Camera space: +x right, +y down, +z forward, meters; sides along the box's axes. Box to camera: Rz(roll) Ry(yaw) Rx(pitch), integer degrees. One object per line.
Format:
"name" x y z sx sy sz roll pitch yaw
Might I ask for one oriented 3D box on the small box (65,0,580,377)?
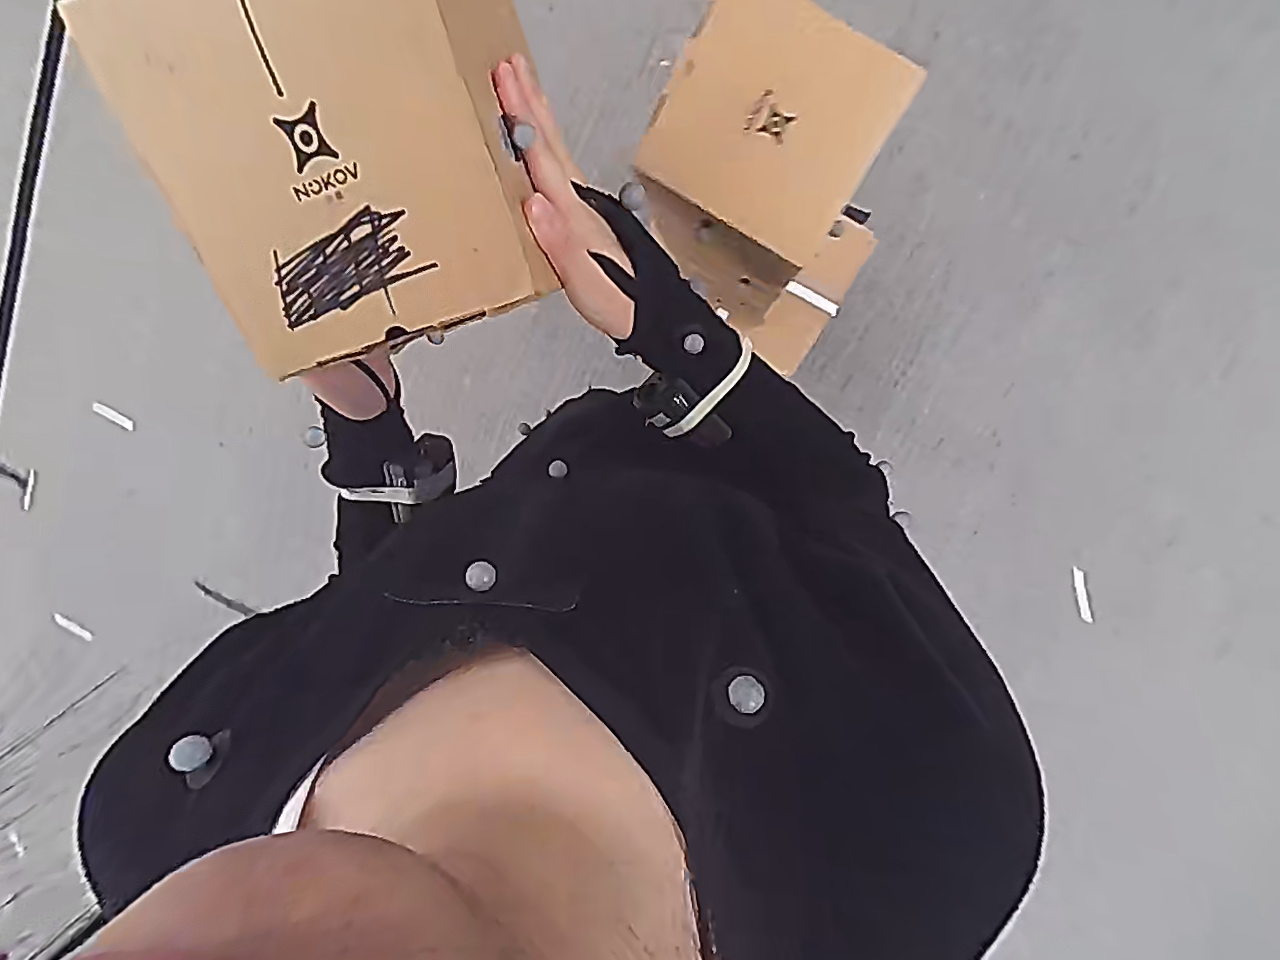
"small box" -0.149 -0.184 0.330 0.168 0.176 0.179 -14 112 12

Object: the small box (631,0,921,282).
"small box" 0.118 -0.308 0.516 0.179 0.176 0.168 32 105 1

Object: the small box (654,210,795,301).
"small box" 0.140 -0.340 0.673 0.179 0.176 0.168 31 104 1

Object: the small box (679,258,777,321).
"small box" 0.188 -0.403 0.992 0.179 0.176 0.168 27 105 1
